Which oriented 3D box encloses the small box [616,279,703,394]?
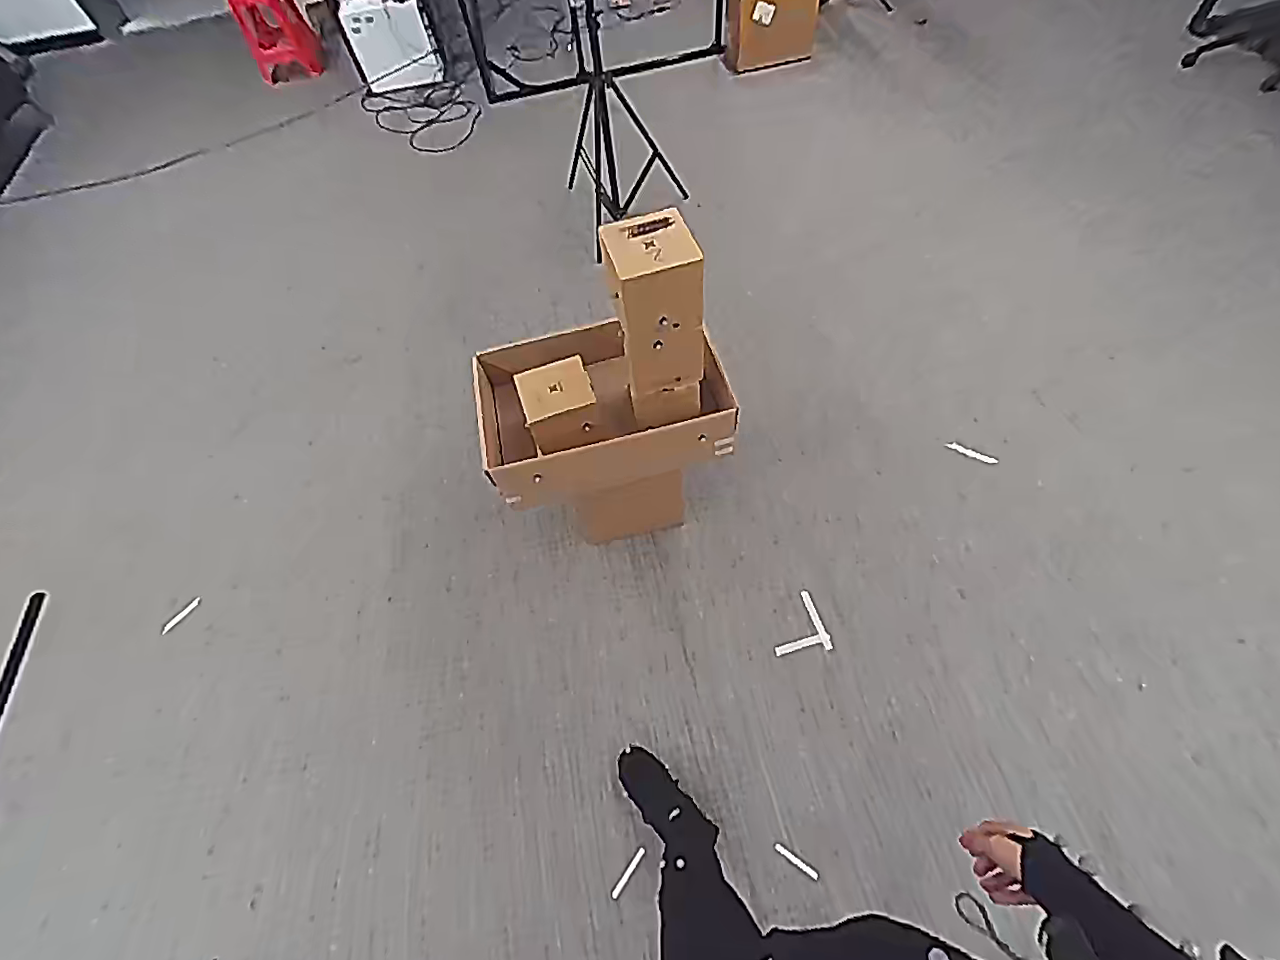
[{"bbox_3d":[0.045,-0.328,1.246,0.168,0.176,0.179,-12,58,0],"label":"small box"}]
